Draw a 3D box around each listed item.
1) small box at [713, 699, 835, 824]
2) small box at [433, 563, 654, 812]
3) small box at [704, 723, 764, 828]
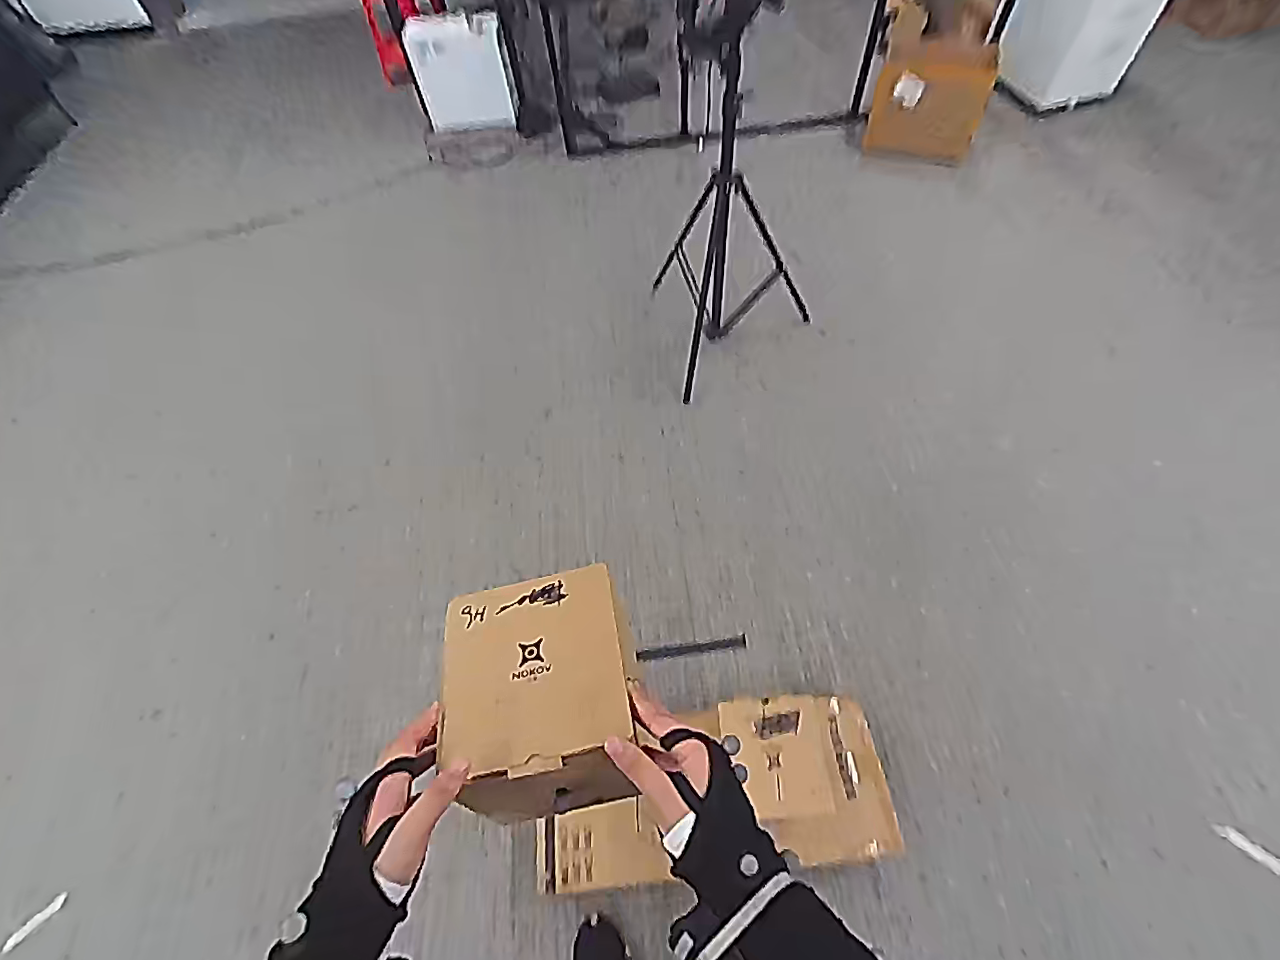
[{"bbox_3d":[0.221,0.496,0.947,0.168,0.176,0.179,-5,58,2],"label":"small box"},{"bbox_3d":[-0.087,0.213,0.538,0.168,0.176,0.179,-13,50,-1],"label":"small box"},{"bbox_3d":[0.224,0.587,1.084,0.168,0.176,0.179,-8,57,0],"label":"small box"}]
